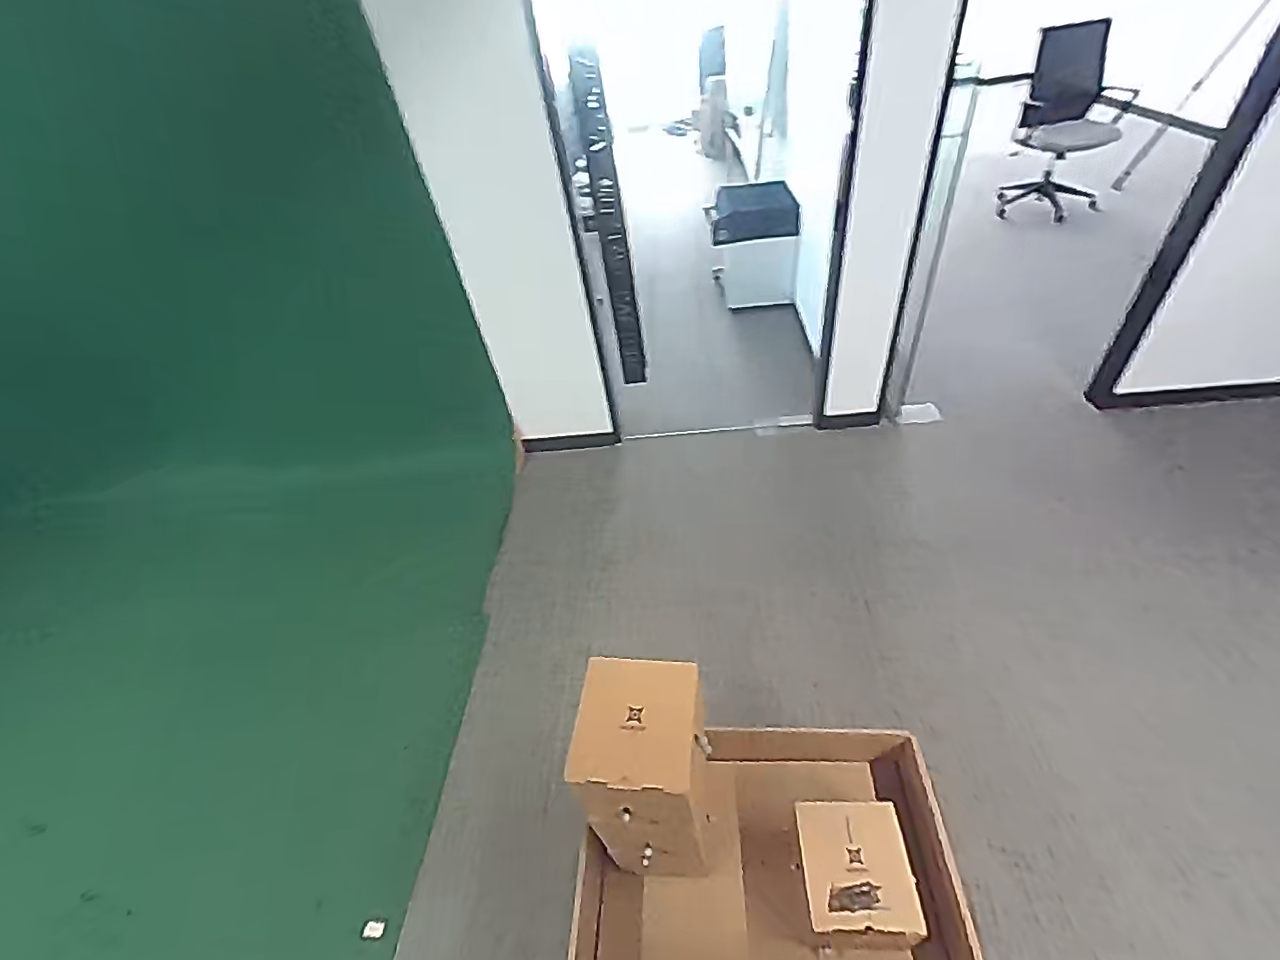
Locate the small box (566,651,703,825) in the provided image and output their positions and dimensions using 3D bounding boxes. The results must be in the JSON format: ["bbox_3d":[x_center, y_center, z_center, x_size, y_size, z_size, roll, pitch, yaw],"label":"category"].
[{"bbox_3d":[0.004,0.380,0.802,0.168,0.176,0.179,1,45,11],"label":"small box"}]

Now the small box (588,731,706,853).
[{"bbox_3d":[0.022,0.498,0.912,0.168,0.176,0.179,-1,44,11],"label":"small box"}]

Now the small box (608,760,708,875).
[{"bbox_3d":[0.042,0.617,1.024,0.168,0.176,0.179,-2,43,9],"label":"small box"}]

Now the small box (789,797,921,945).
[{"bbox_3d":[0.349,0.662,0.915,0.168,0.176,0.179,-3,42,7],"label":"small box"}]
